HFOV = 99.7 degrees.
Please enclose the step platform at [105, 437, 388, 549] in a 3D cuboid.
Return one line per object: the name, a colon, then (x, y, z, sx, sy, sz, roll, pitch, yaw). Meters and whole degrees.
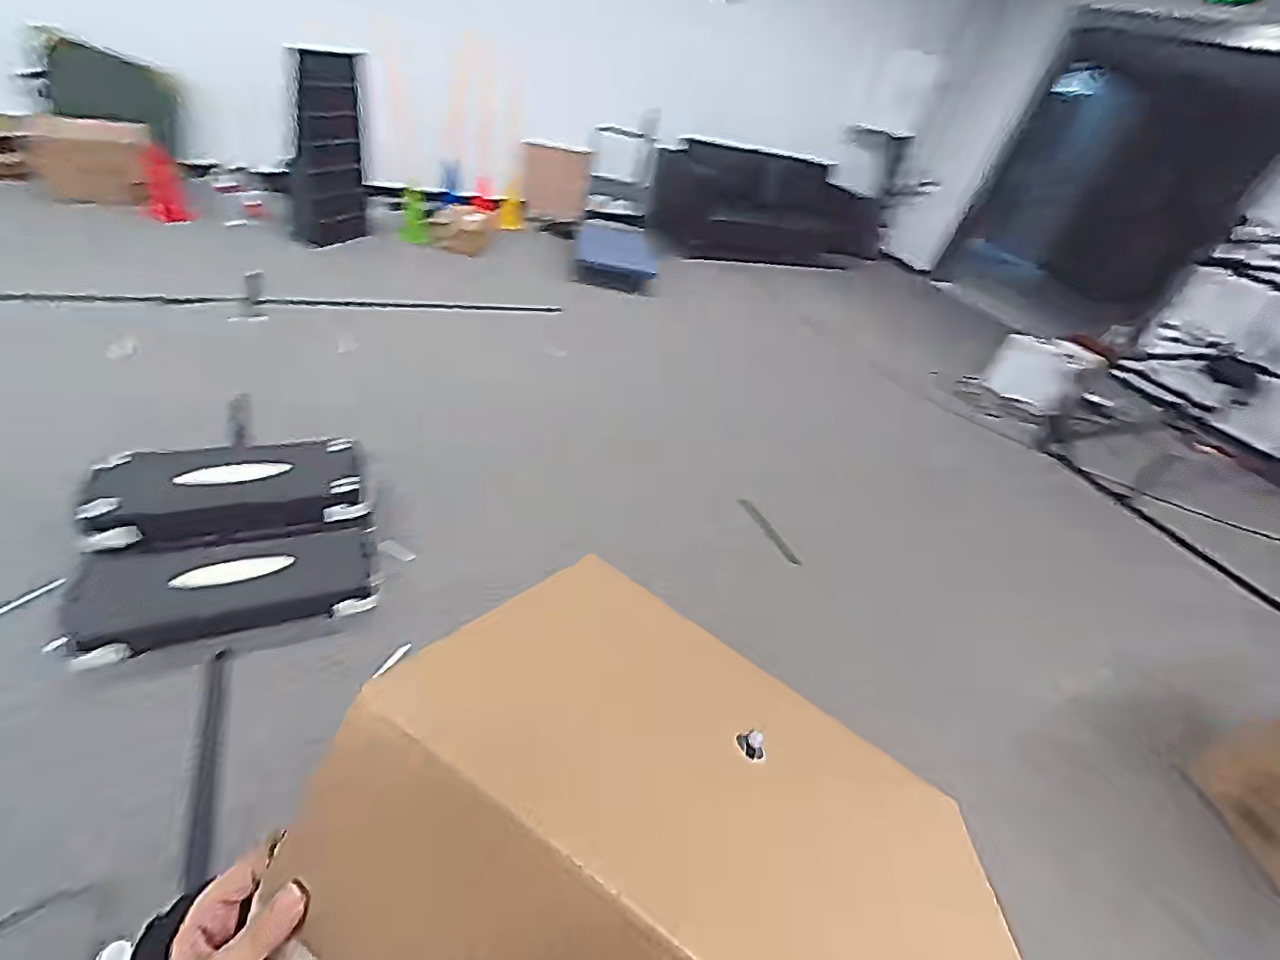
step platform: (-1.149, 0.023, 1.650, 0.684, 0.204, 0.286, -1, 42, -23)
